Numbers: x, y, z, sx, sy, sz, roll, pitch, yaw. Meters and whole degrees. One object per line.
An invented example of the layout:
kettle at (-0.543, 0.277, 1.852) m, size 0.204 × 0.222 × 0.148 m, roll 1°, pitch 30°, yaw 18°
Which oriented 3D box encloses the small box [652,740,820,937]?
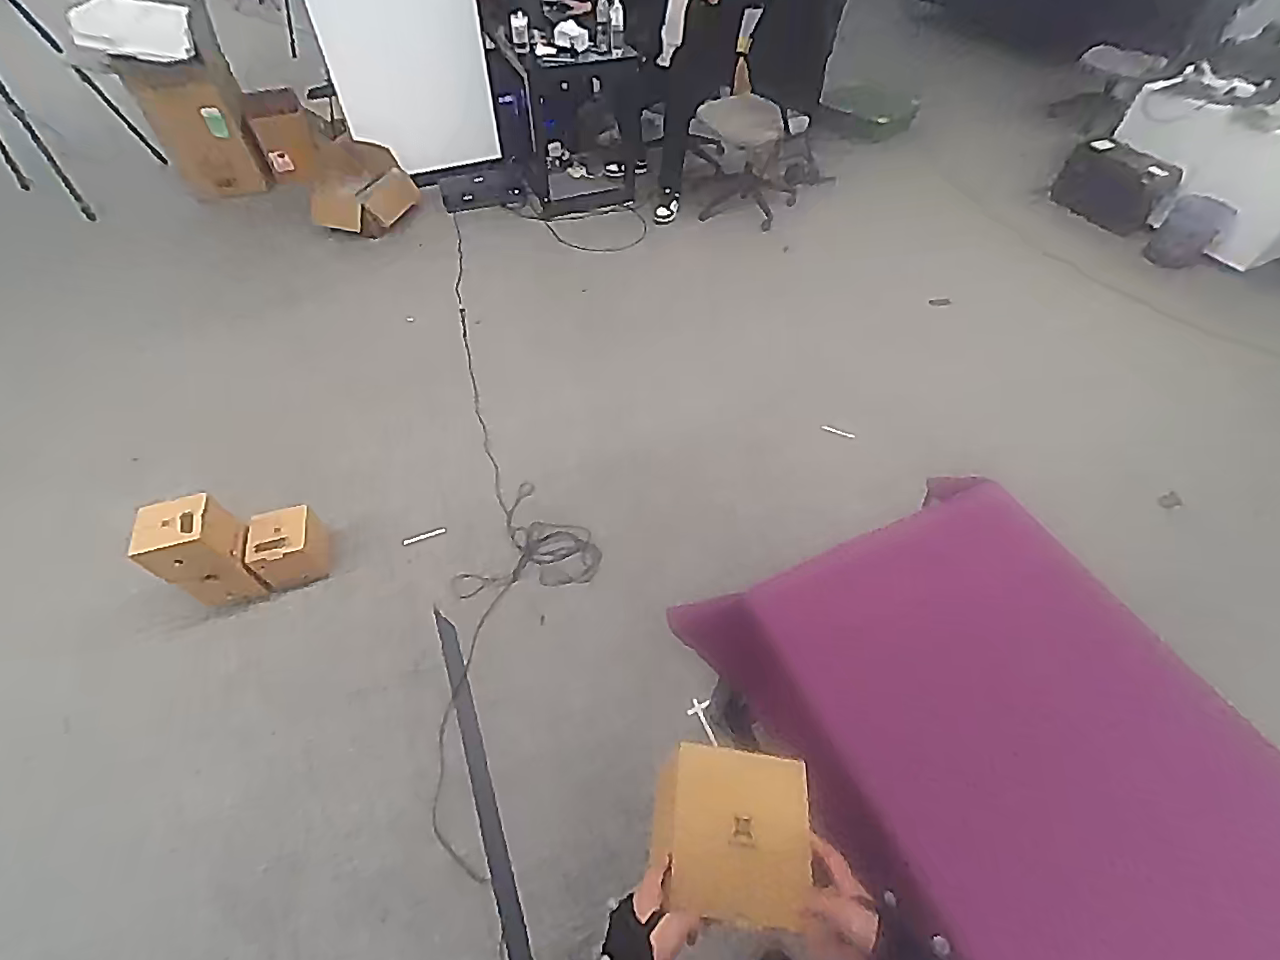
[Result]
small box at (0.113, 0.457, 0.692) m, size 0.168 × 0.176 × 0.179 m, roll 10°, pitch 52°, yaw -2°

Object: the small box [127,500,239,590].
small box at (-1.279, 0.185, 1.529) m, size 0.179 × 0.176 × 0.168 m, roll -16°, pitch 54°, yaw -11°
